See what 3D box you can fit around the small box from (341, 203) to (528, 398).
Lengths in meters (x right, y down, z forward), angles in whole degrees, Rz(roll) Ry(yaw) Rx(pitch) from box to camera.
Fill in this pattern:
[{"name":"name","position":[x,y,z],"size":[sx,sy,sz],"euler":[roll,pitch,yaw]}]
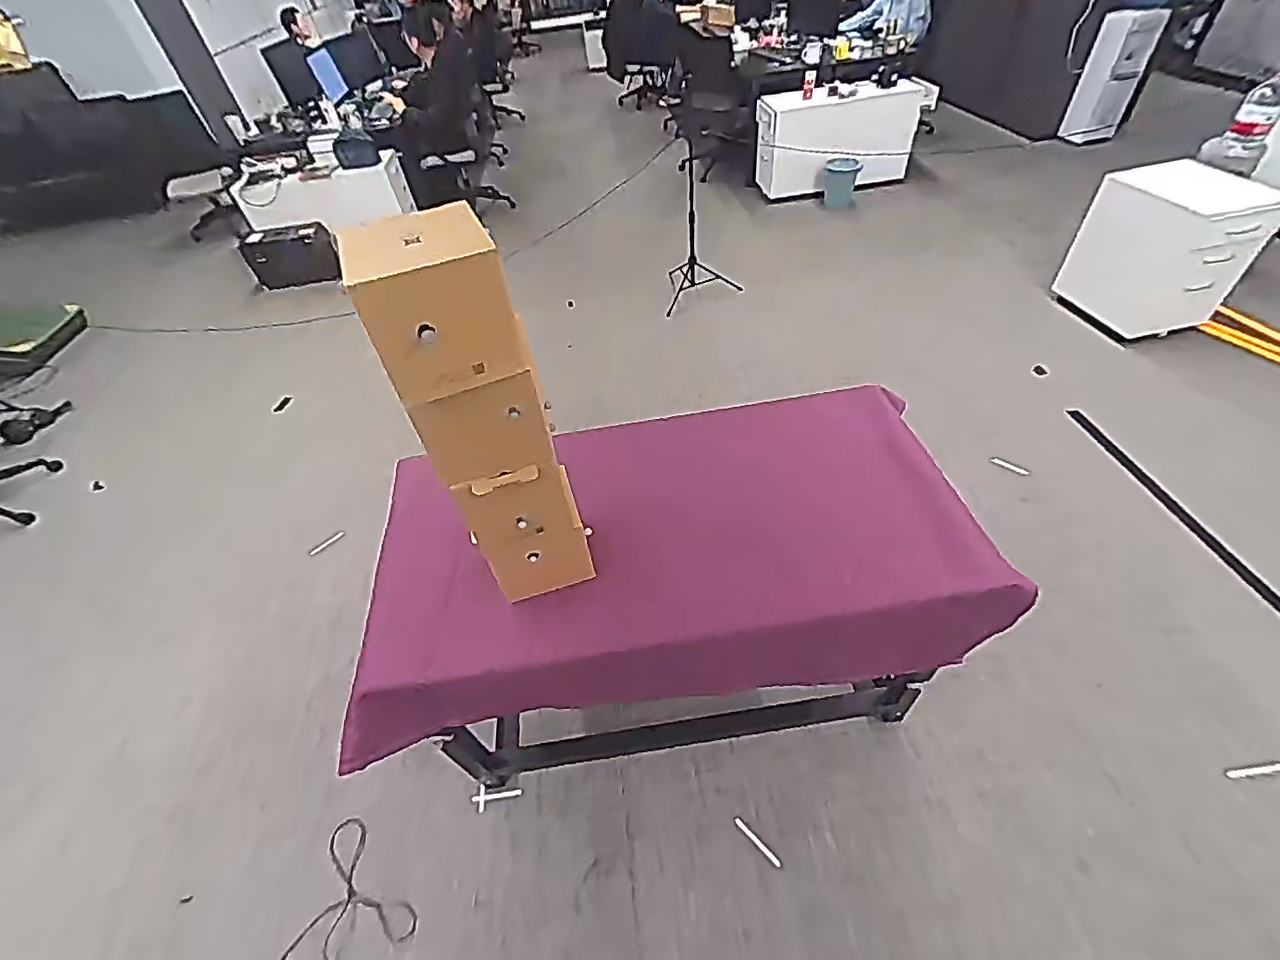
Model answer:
[{"name":"small box","position":[-0.256,-0.223,0.690],"size":[0.168,0.176,0.179],"euler":[-21,47,-14]}]

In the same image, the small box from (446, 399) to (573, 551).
[{"name":"small box","position":[-0.223,-0.009,0.936],"size":[0.168,0.176,0.179],"euler":[-17,47,-8]}]

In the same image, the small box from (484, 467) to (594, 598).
[{"name":"small box","position":[-0.199,0.105,1.053],"size":[0.179,0.176,0.168],"euler":[-15,47,-8]}]
